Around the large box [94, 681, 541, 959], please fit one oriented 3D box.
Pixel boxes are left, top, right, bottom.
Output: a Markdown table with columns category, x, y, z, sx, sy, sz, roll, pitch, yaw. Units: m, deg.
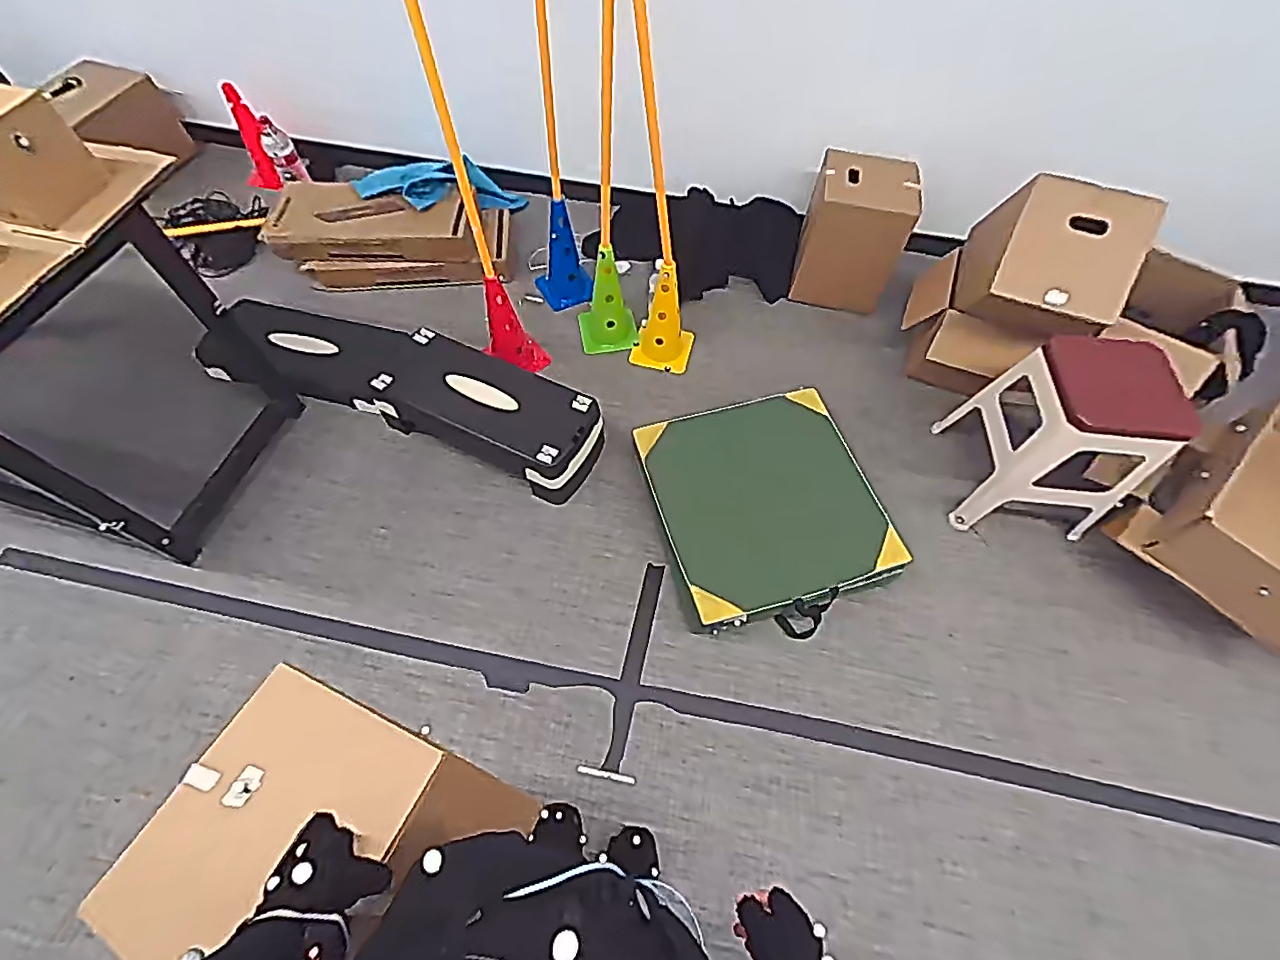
| category | x | y | z | sx | sy | sz | roll | pitch | yaw |
| --- | --- | --- | --- | --- | --- | --- | --- | --- | --- |
| large box | -0.402 | 0.546 | 0.785 | 0.320 | 0.408 | 0.320 | 16 | 56 | 22 |
